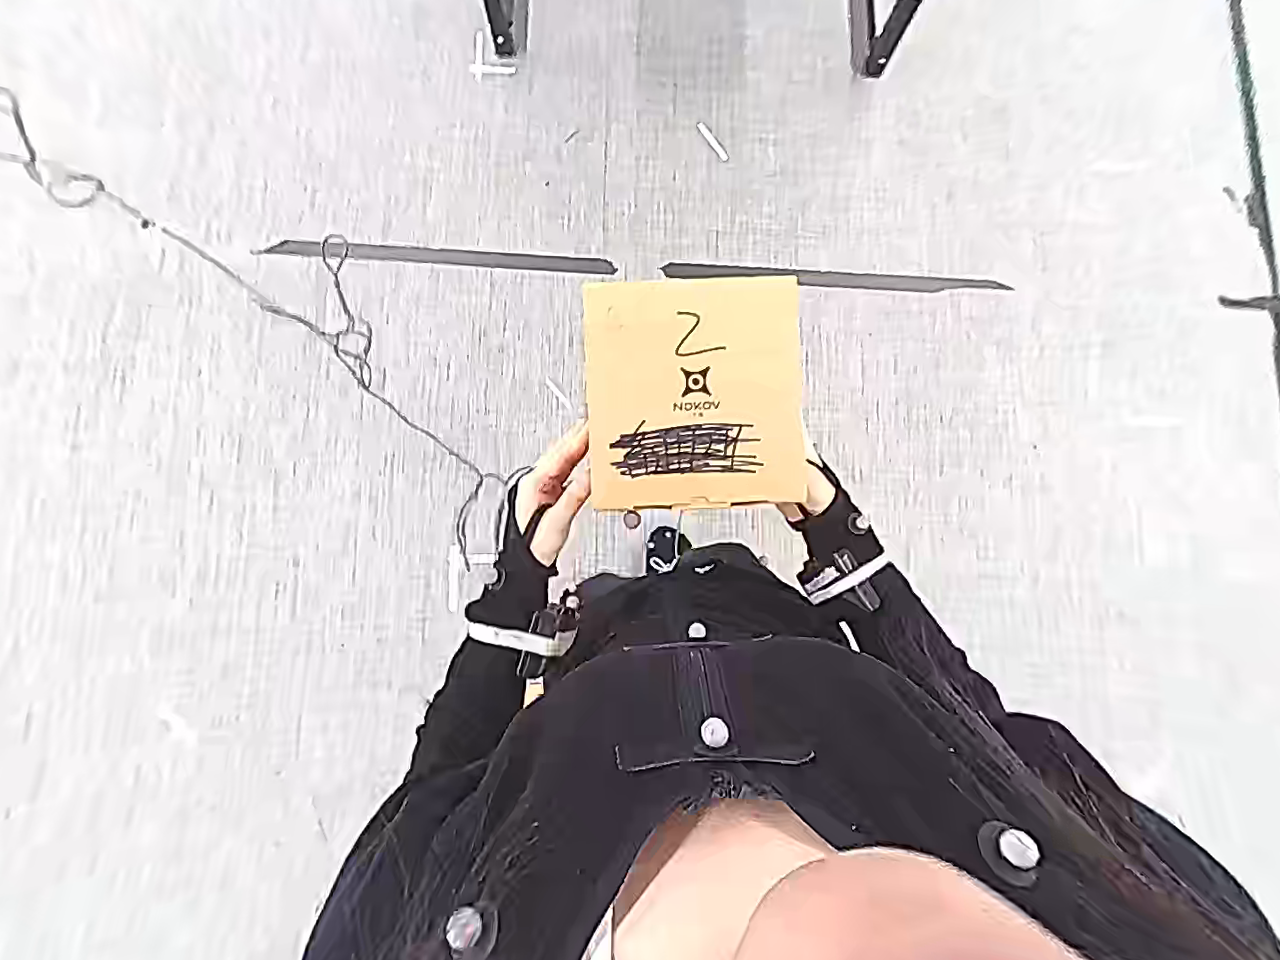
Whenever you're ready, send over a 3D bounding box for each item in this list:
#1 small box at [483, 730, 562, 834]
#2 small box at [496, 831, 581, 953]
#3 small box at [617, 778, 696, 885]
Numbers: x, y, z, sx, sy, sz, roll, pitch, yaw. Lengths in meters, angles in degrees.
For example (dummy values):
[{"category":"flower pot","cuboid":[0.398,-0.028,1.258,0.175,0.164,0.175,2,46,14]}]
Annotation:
[{"category":"small box","cuboid":[-0.284,0.730,1.330,0.168,0.176,0.179,-4,85,-3]},{"category":"small box","cuboid":[-0.239,0.986,1.309,0.179,0.176,0.168,-5,86,-4]},{"category":"small box","cuboid":[0.036,0.857,1.332,0.179,0.176,0.168,4,84,-3]}]
